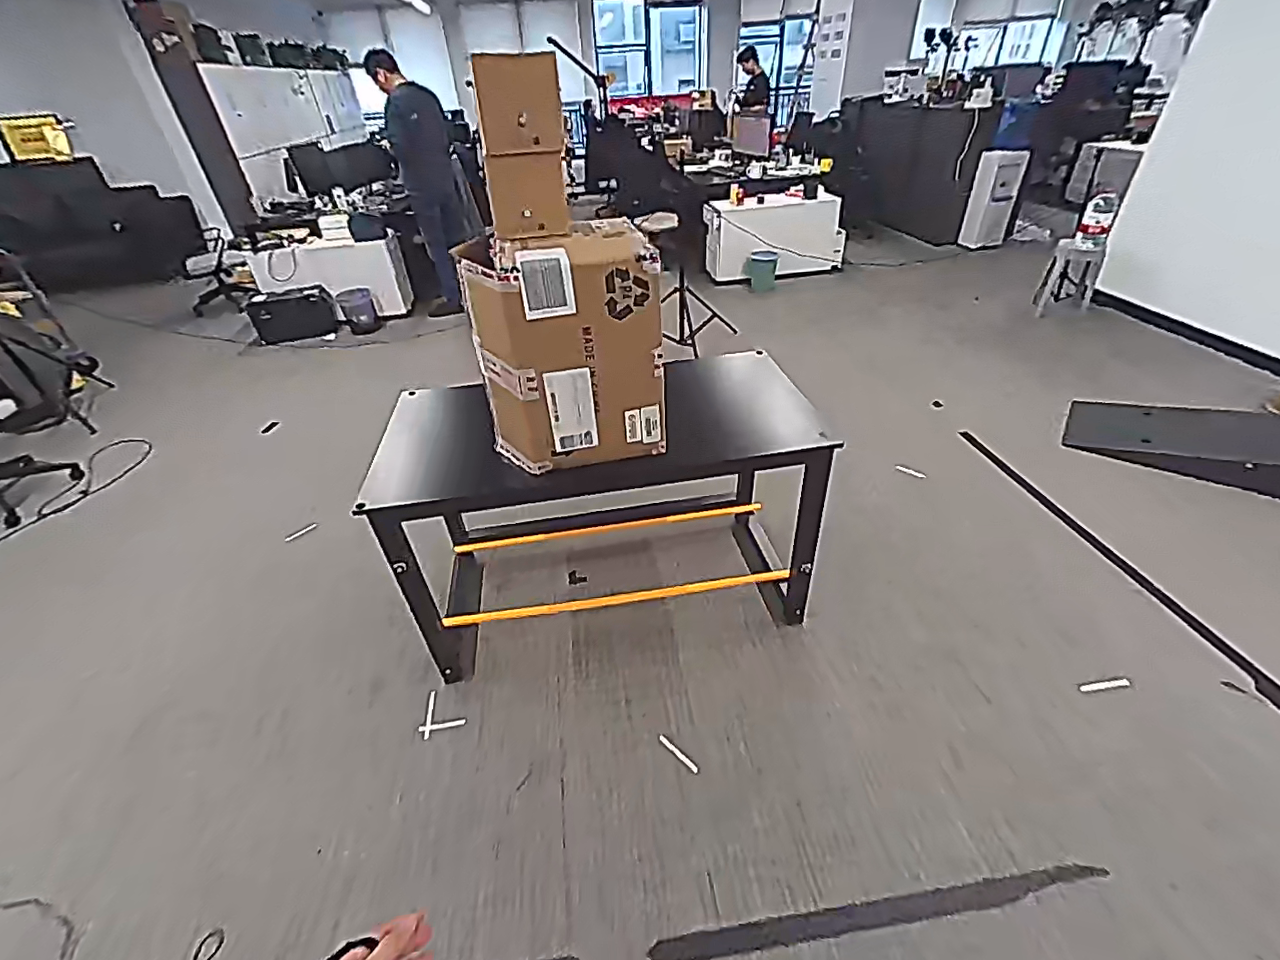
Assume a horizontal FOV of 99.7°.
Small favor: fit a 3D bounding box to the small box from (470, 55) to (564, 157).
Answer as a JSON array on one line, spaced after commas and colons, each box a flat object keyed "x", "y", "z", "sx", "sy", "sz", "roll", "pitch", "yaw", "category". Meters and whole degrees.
[{"x": -0.263, "y": -0.793, "z": 1.155, "sx": 0.168, "sy": 0.176, "sz": 0.179, "roll": -11, "pitch": 35, "yaw": -12, "category": "small box"}]

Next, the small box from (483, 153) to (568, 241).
[{"x": -0.265, "y": -0.660, "z": 1.254, "sx": 0.168, "sy": 0.176, "sz": 0.179, "roll": -10, "pitch": 36, "yaw": -10, "category": "small box"}]
